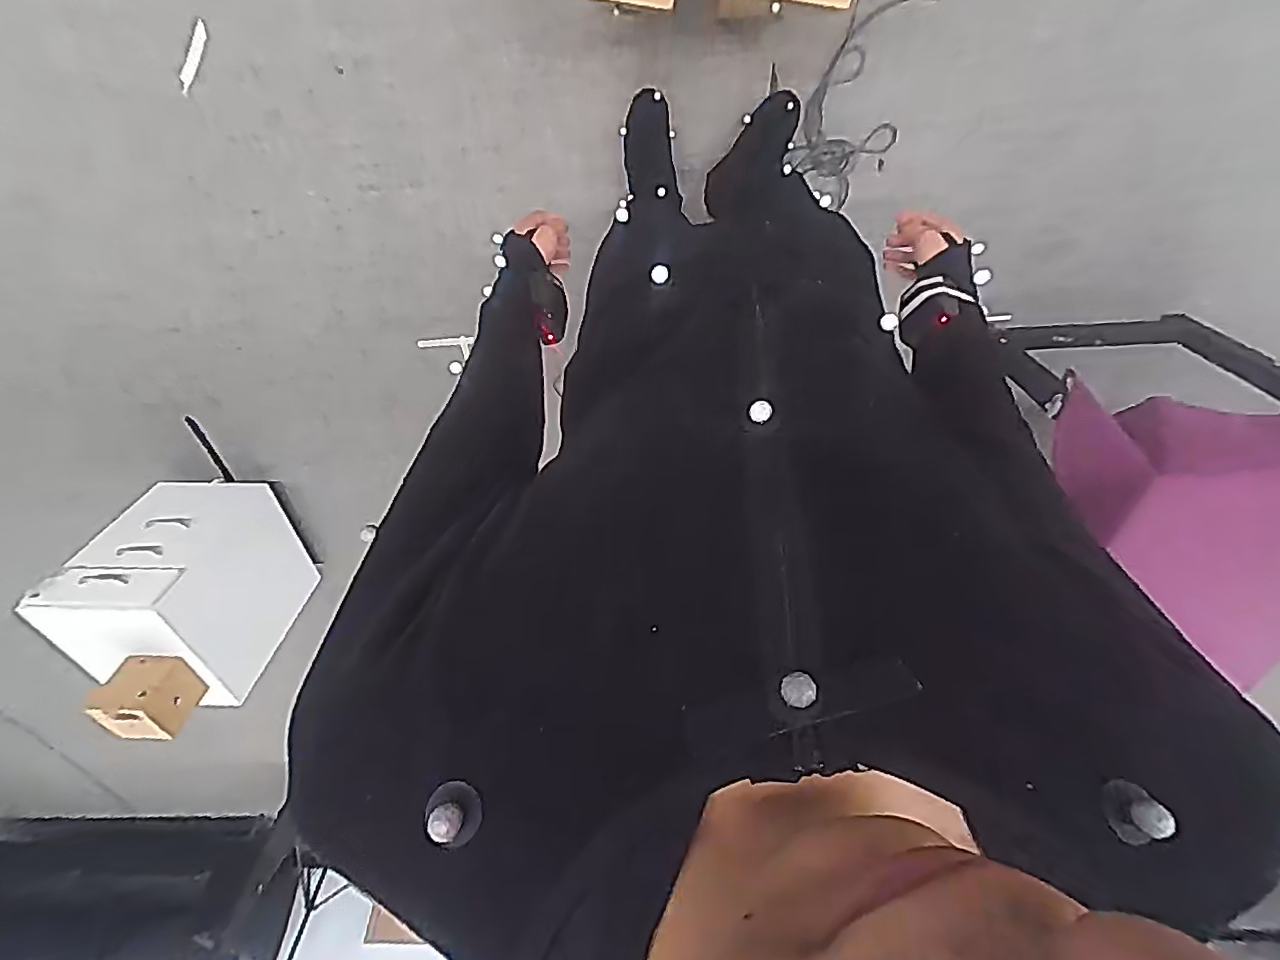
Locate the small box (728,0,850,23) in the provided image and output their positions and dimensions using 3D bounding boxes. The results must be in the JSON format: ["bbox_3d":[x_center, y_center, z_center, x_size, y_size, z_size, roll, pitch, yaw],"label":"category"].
[{"bbox_3d":[0.225,-0.786,0.774,0.168,0.176,0.179,7,127,-3],"label":"small box"}]

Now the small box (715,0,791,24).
[{"bbox_3d":[0.234,-0.990,1.029,0.168,0.176,0.179,0,128,3],"label":"small box"}]

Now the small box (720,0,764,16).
[{"bbox_3d":[0.231,-0.889,0.902,0.179,0.176,0.168,1,128,1],"label":"small box"}]

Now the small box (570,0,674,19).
[{"bbox_3d":[-0.022,-0.889,0.902,0.179,0.176,0.168,7,128,-3],"label":"small box"}]
